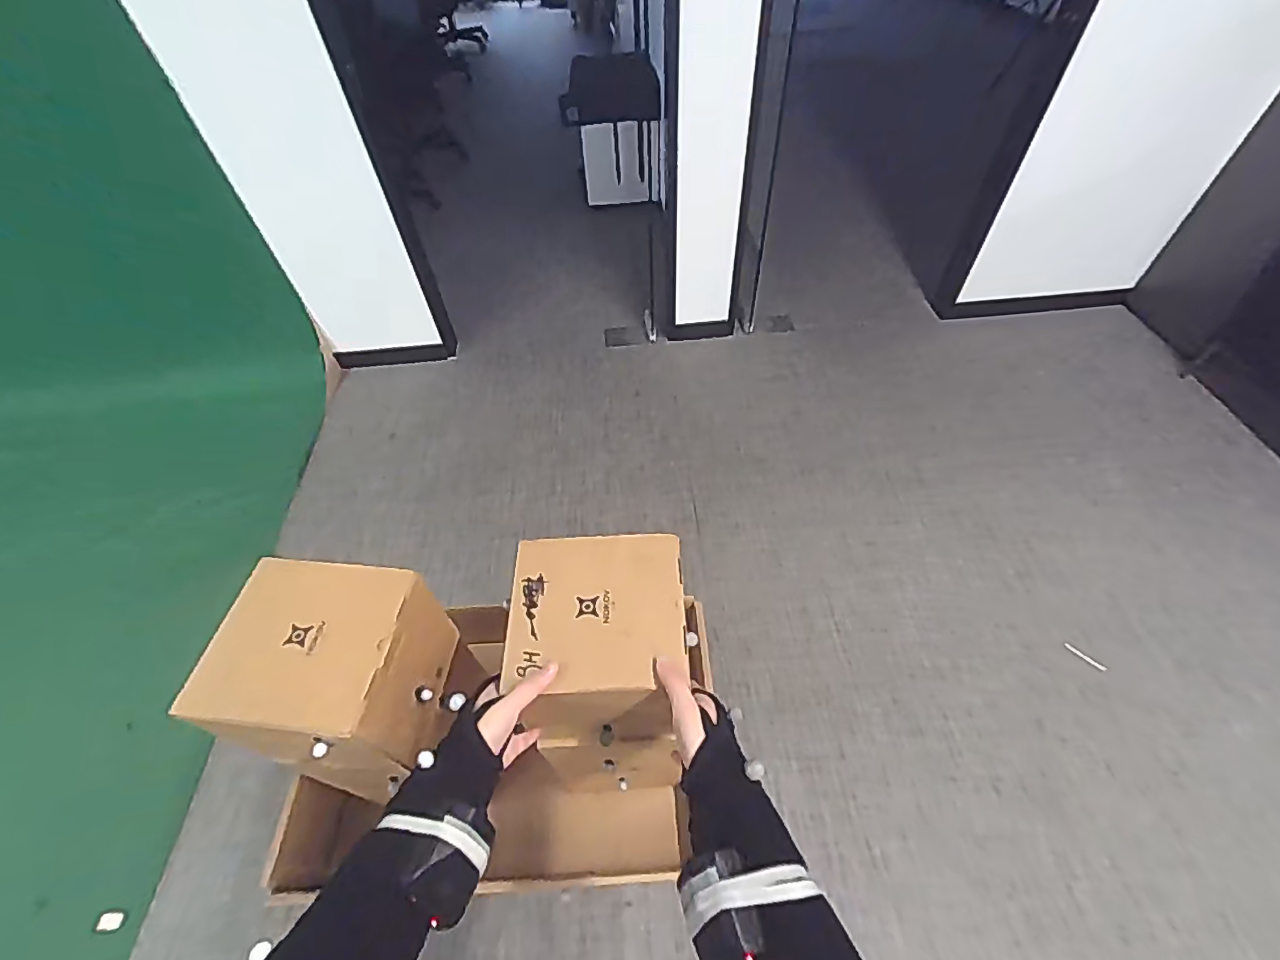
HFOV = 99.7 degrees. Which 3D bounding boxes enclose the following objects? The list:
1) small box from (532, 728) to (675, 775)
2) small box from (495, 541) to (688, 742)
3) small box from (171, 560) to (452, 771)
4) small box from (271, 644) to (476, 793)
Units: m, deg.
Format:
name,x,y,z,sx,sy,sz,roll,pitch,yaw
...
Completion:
name,x,y,z,sx,sy,sz,roll,pitch,yaw
small box,-0.039,0.286,0.723,0.168,0.176,0.179,-2,51,0
small box,-0.043,0.181,0.597,0.179,0.176,0.168,-2,51,1
small box,-0.334,0.208,0.596,0.179,0.176,0.168,5,51,3
small box,-0.334,0.307,0.724,0.168,0.176,0.179,2,51,3
